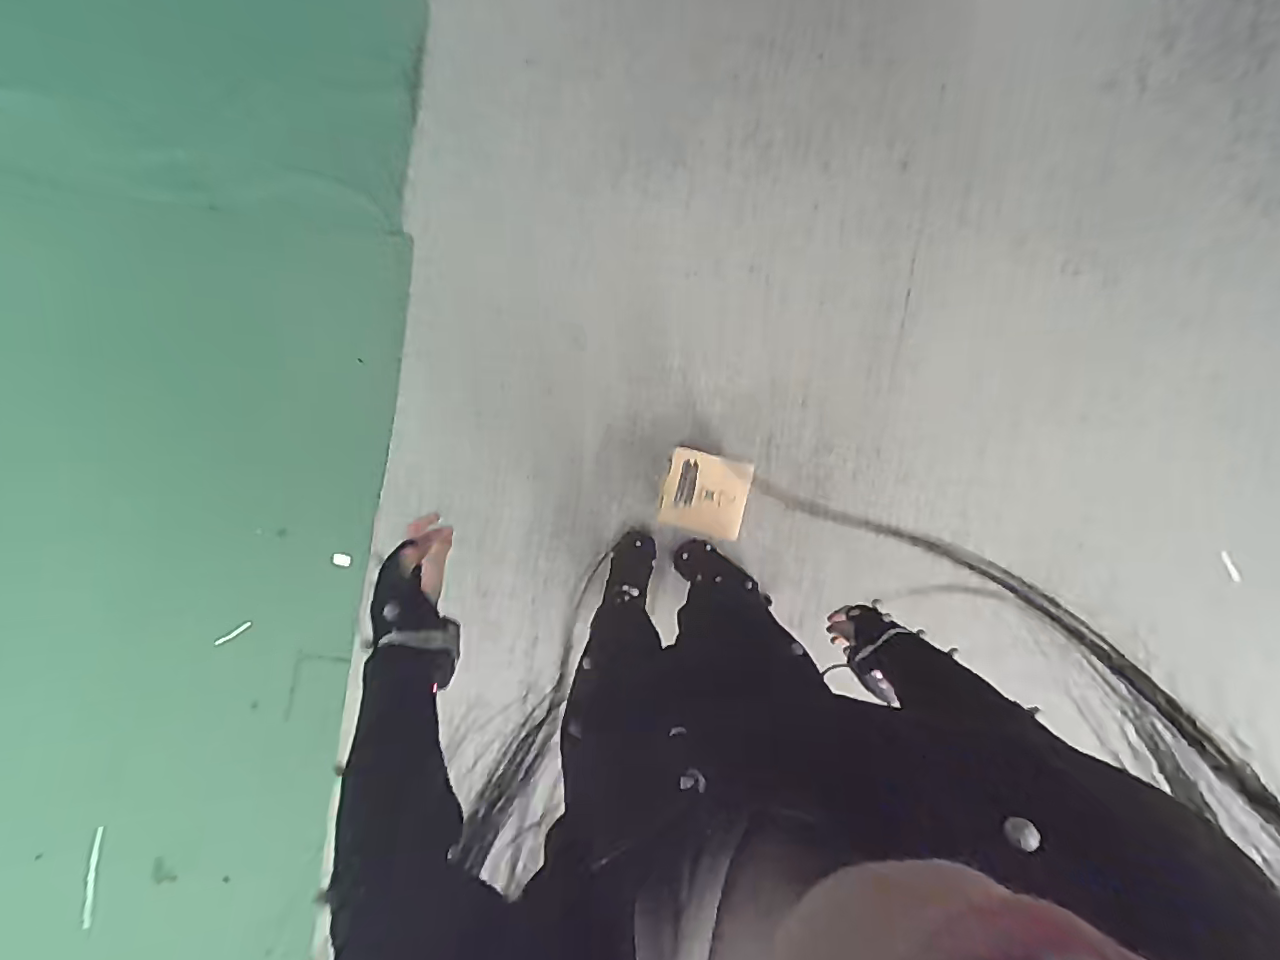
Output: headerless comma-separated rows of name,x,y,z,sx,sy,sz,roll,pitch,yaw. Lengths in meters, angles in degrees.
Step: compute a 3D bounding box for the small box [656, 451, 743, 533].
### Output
small box,0.146,0.025,1.381,0.179,0.176,0.168,15,92,2
